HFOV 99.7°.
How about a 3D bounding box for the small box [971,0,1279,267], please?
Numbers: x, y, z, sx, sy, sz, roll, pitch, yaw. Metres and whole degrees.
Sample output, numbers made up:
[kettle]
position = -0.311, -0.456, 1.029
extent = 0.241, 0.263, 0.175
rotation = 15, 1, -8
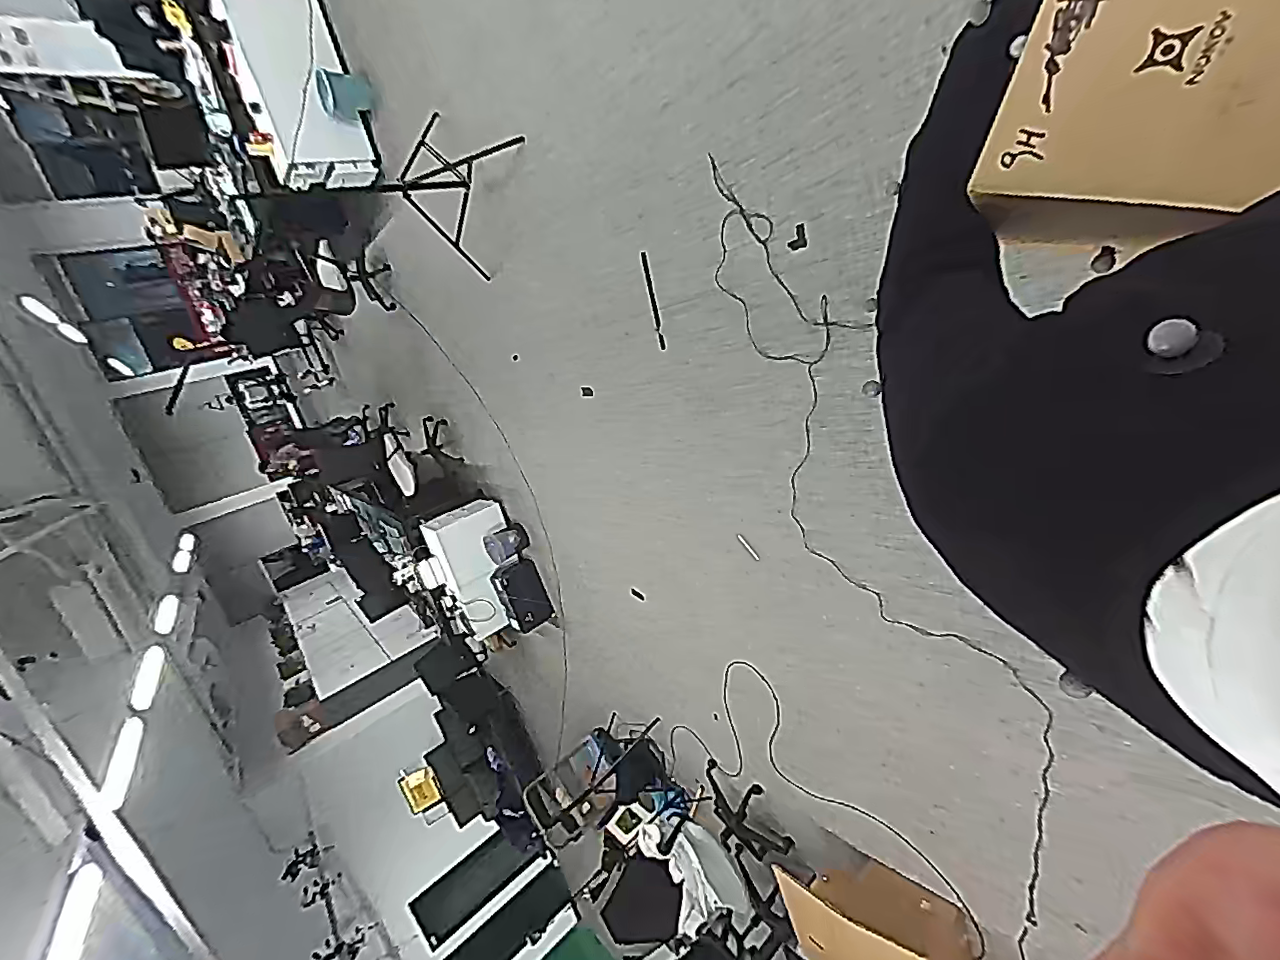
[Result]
[small box]
position = 0.374, -0.260, 0.381
extent = 0.179, 0.176, 0.168
rotation = 28, 112, 34
